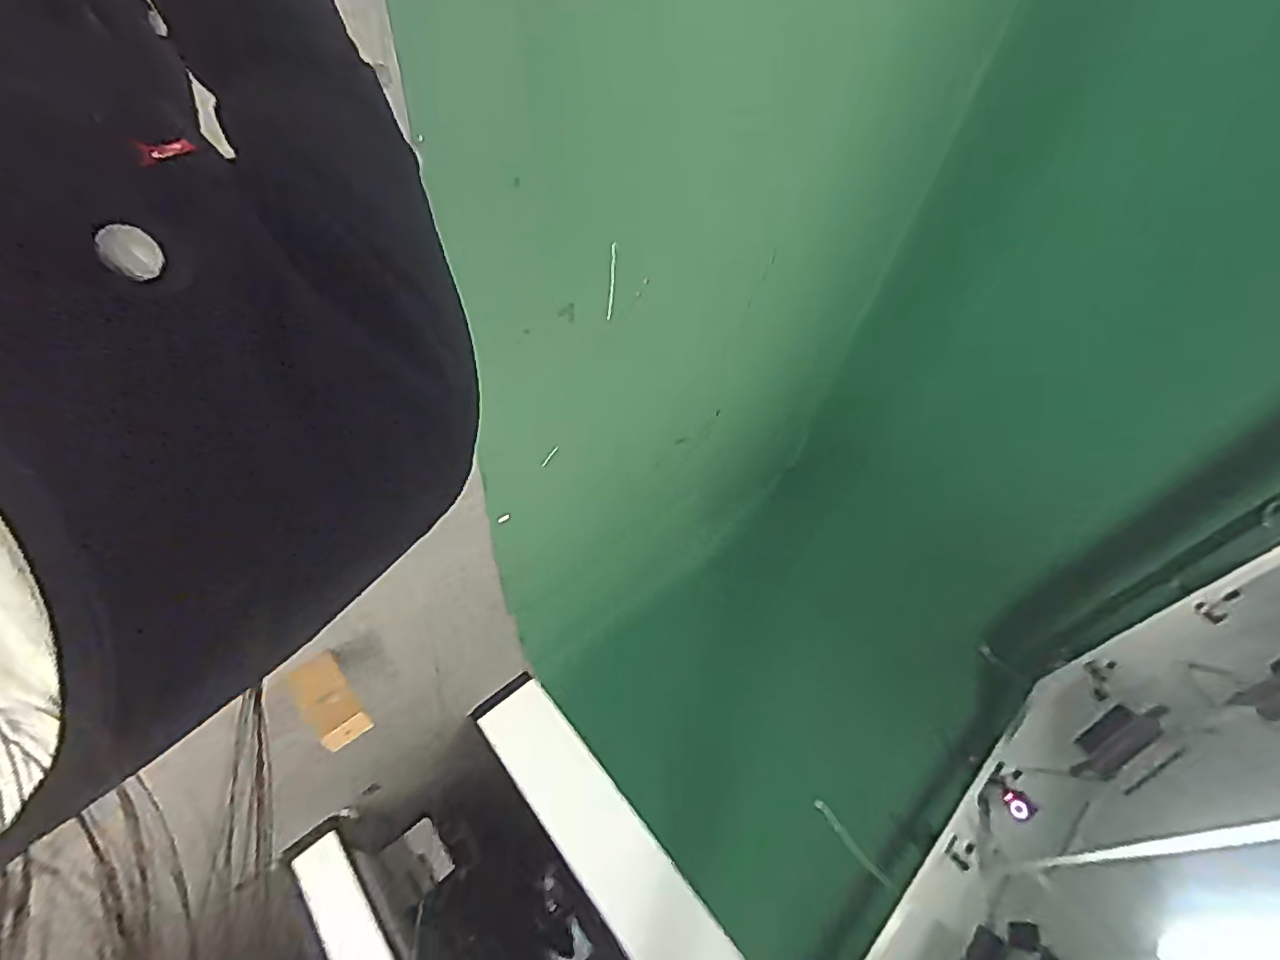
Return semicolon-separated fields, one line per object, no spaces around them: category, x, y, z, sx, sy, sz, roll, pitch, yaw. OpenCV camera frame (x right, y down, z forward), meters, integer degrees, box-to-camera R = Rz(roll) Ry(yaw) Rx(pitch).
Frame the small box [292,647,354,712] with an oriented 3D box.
small box;-1.320;0.839;2.258;0.179;0.176;0.168;-30;149;-30

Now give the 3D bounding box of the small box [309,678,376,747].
small box;-1.208;0.943;2.199;0.168;0.176;0.179;-33;149;-31
